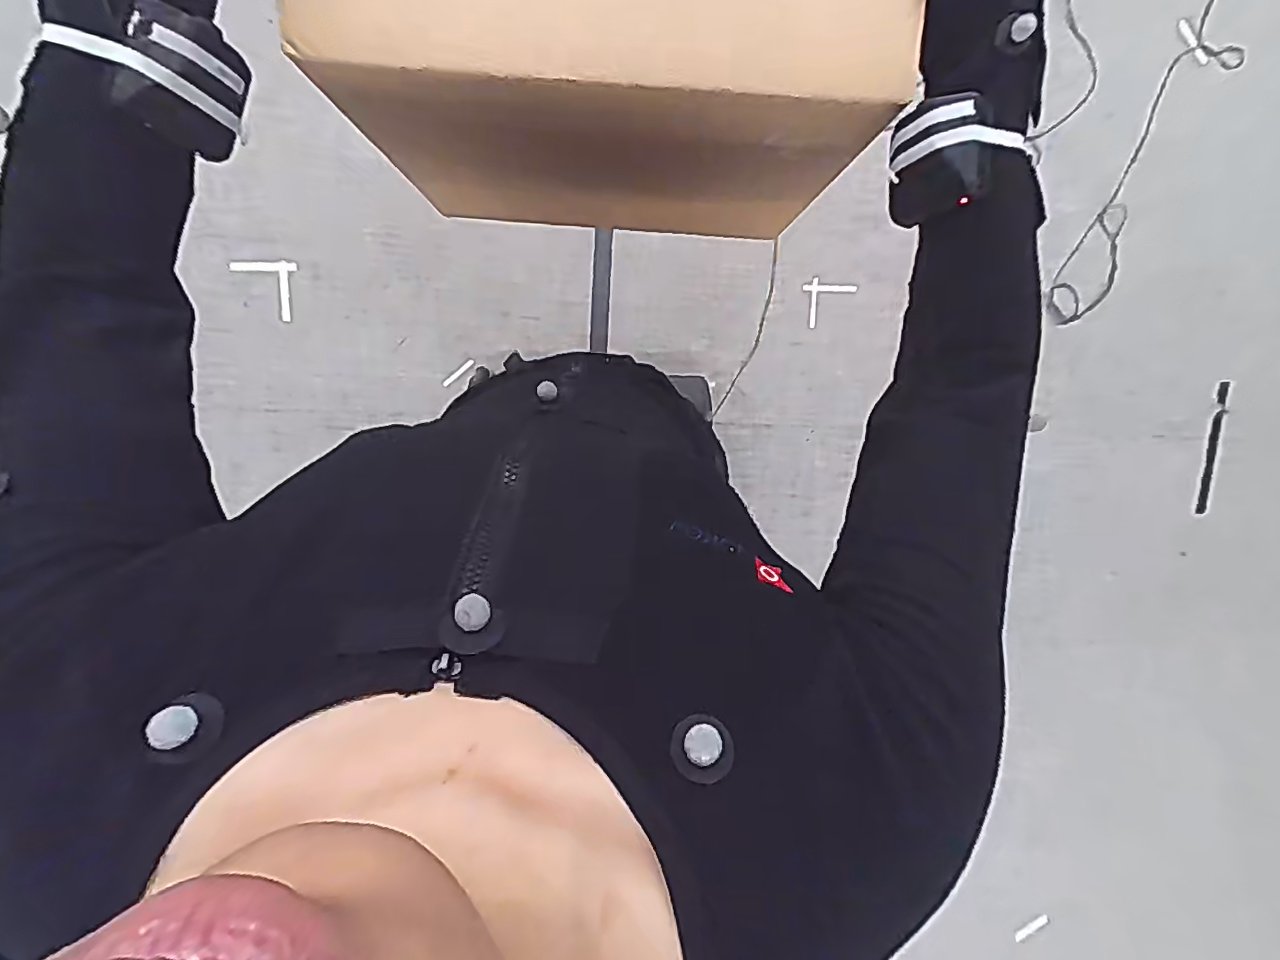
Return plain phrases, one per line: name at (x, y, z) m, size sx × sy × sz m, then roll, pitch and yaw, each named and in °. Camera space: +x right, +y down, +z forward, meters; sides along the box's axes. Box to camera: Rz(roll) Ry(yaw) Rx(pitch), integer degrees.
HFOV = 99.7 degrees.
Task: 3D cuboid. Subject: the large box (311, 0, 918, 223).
large box at (-0.017, -0.443, 0.483) m, size 0.408 × 0.320 × 0.320 m, roll 2°, pitch 100°, yaw -3°
